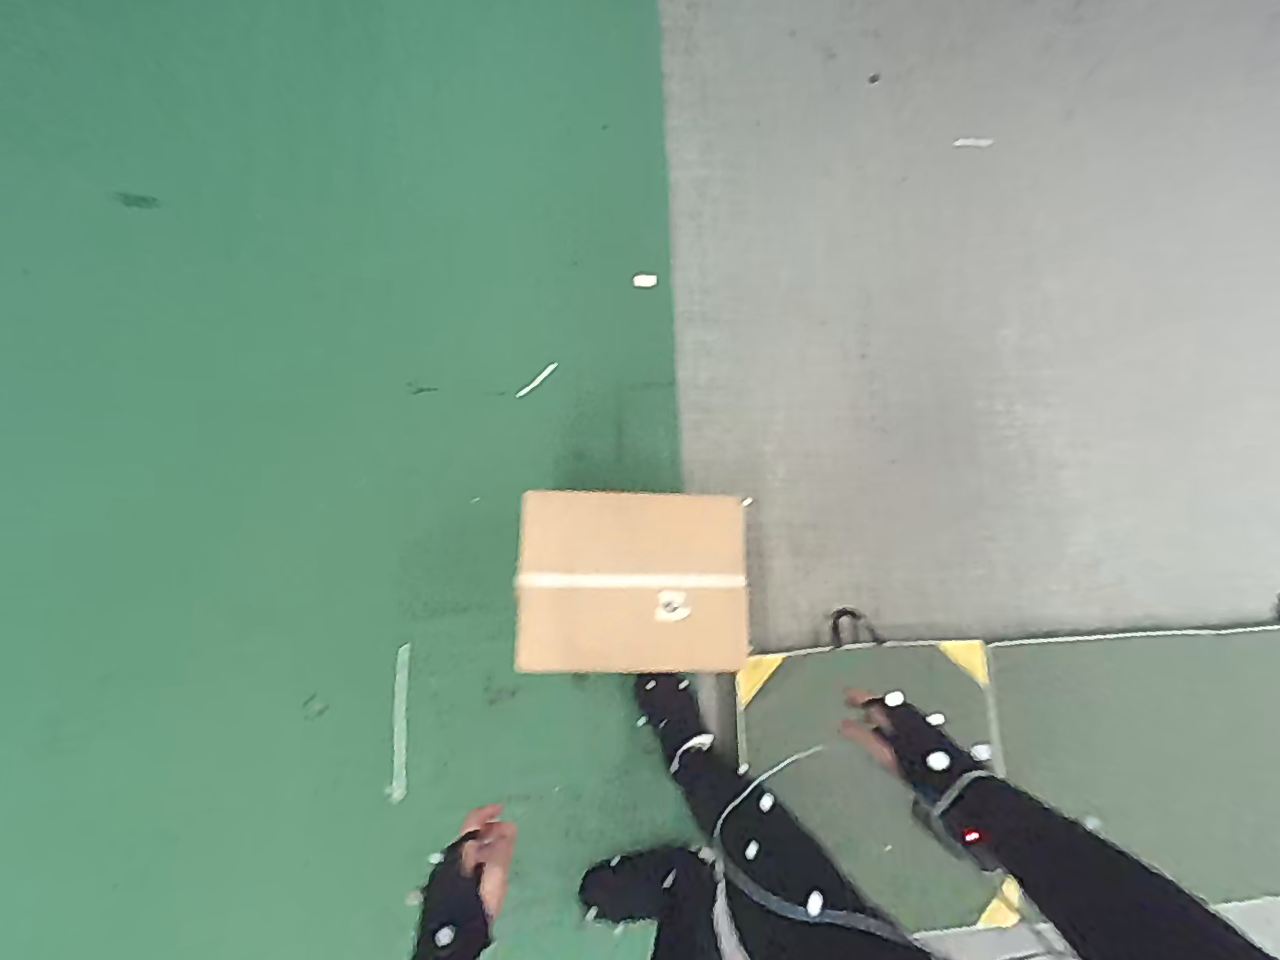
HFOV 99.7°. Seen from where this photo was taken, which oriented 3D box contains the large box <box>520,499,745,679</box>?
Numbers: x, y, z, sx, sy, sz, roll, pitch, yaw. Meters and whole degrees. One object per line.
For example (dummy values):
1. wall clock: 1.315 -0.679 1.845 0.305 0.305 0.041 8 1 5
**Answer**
1. large box: -0.028 0.215 1.113 0.408 0.320 0.320 1 81 -6
